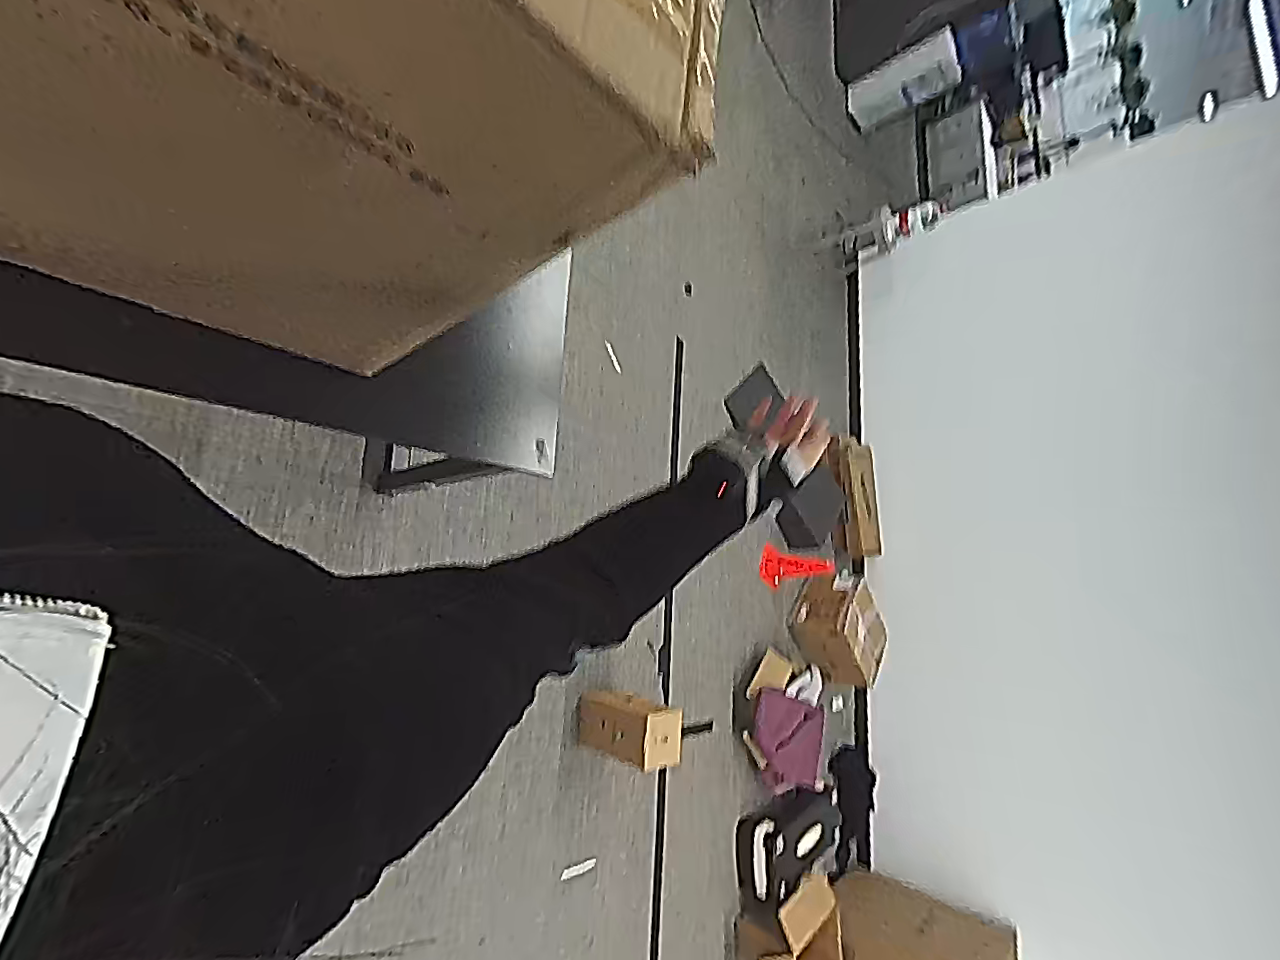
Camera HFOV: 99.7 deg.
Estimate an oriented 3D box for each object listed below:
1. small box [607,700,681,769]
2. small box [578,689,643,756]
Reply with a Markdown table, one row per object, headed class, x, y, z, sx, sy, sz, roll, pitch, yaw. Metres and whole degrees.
| class | x | y | z | sx | sy | sz | roll | pitch | yaw |
| --- | --- | --- | --- | --- | --- | --- | --- | --- | --- |
| small box | 0.014 | 0.841 | 1.806 | 0.179 | 0.176 | 0.168 | 15 | 74 | -44 |
| small box | -0.105 | 0.850 | 1.919 | 0.168 | 0.176 | 0.179 | 10 | 78 | -45 |
